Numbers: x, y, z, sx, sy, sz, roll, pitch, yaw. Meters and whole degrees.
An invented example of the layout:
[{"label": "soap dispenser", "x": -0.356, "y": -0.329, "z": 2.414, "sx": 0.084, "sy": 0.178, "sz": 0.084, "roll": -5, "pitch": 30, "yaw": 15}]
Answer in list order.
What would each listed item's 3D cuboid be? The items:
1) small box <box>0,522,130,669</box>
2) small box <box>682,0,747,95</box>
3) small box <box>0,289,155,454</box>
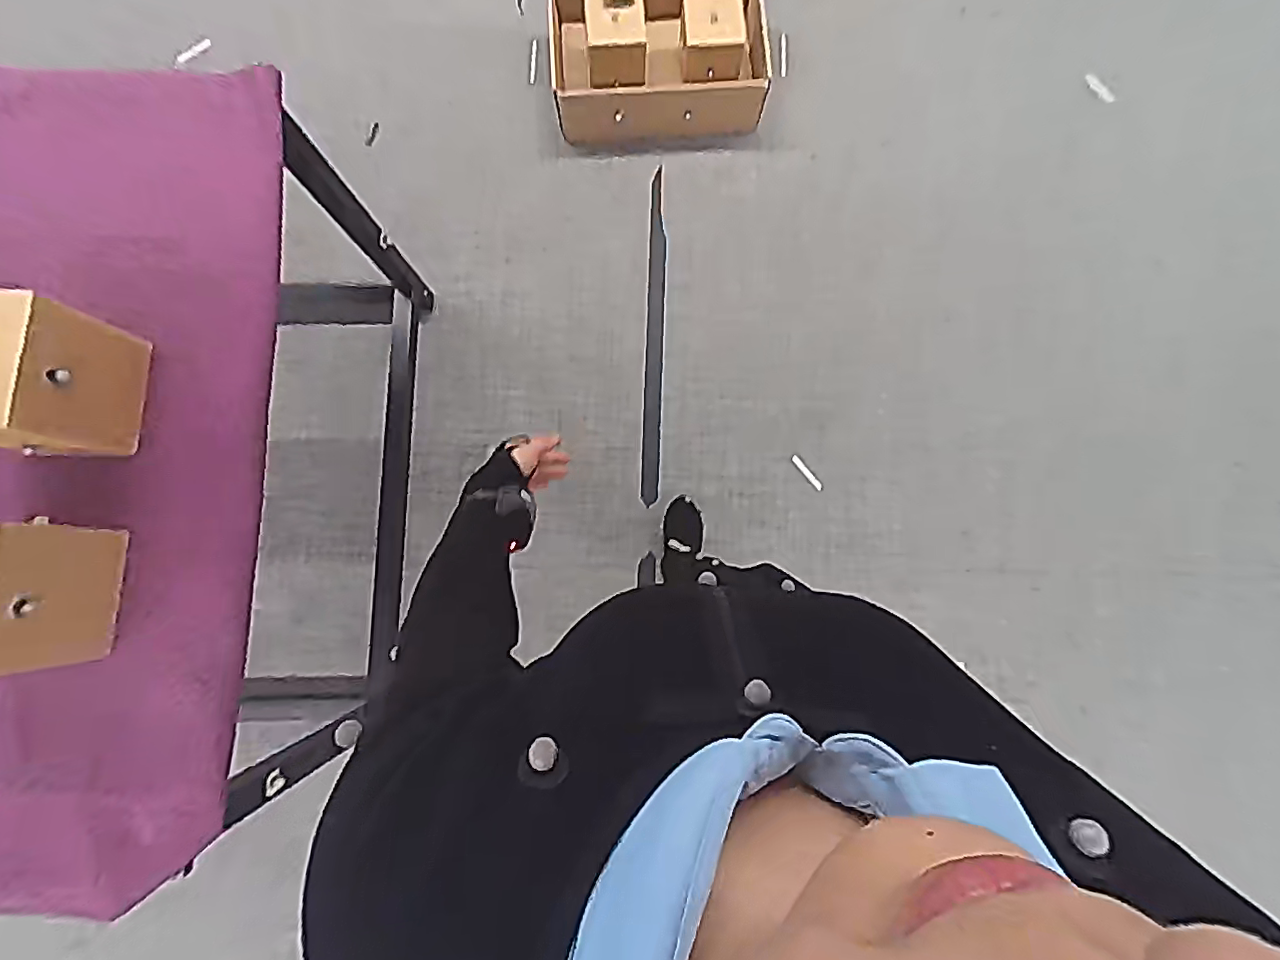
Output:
[{"label": "small box", "x": -0.812, "y": 0.144, "z": 0.688, "sx": 0.168, "sy": 0.176, "sz": 0.179, "roll": 1, "pitch": 81, "yaw": 0}, {"label": "small box", "x": 0.213, "y": -1.270, "z": 1.587, "sx": 0.168, "sy": 0.176, "sz": 0.179, "roll": -2, "pitch": 81, "yaw": -1}, {"label": "small box", "x": -0.816, "y": -0.139, "z": 0.733, "sx": 0.168, "sy": 0.176, "sz": 0.179, "roll": 2, "pitch": 82, "yaw": 0}]
